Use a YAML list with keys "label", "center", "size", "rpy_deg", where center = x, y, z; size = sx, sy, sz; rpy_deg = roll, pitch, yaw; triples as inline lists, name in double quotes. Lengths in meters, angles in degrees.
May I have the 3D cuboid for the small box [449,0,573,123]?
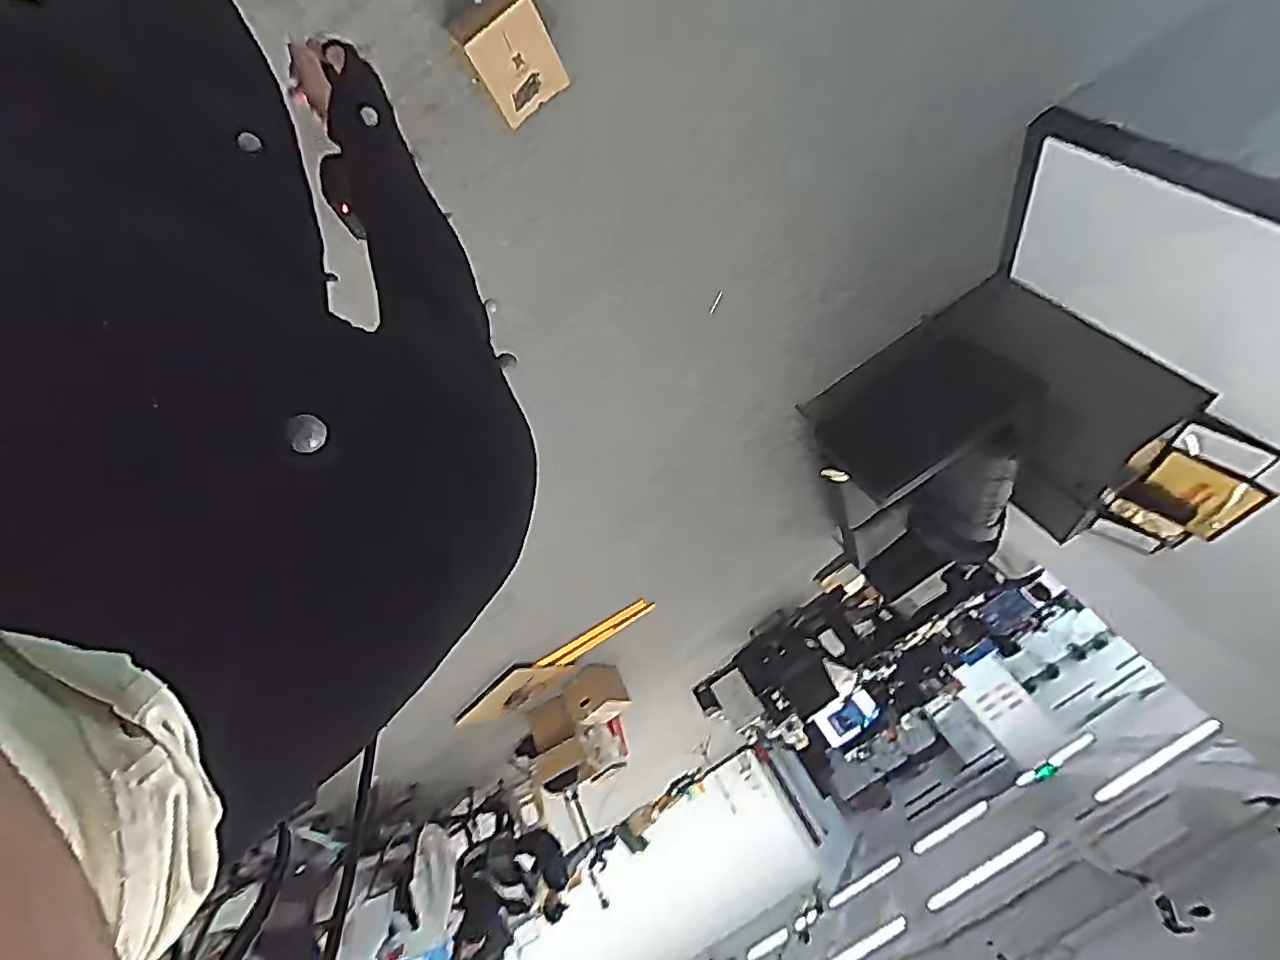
- label: "small box"
  center: [-0.277, -0.924, 1.159]
  size: [0.168, 0.176, 0.179]
  rpy_deg: [-36, 146, 4]
